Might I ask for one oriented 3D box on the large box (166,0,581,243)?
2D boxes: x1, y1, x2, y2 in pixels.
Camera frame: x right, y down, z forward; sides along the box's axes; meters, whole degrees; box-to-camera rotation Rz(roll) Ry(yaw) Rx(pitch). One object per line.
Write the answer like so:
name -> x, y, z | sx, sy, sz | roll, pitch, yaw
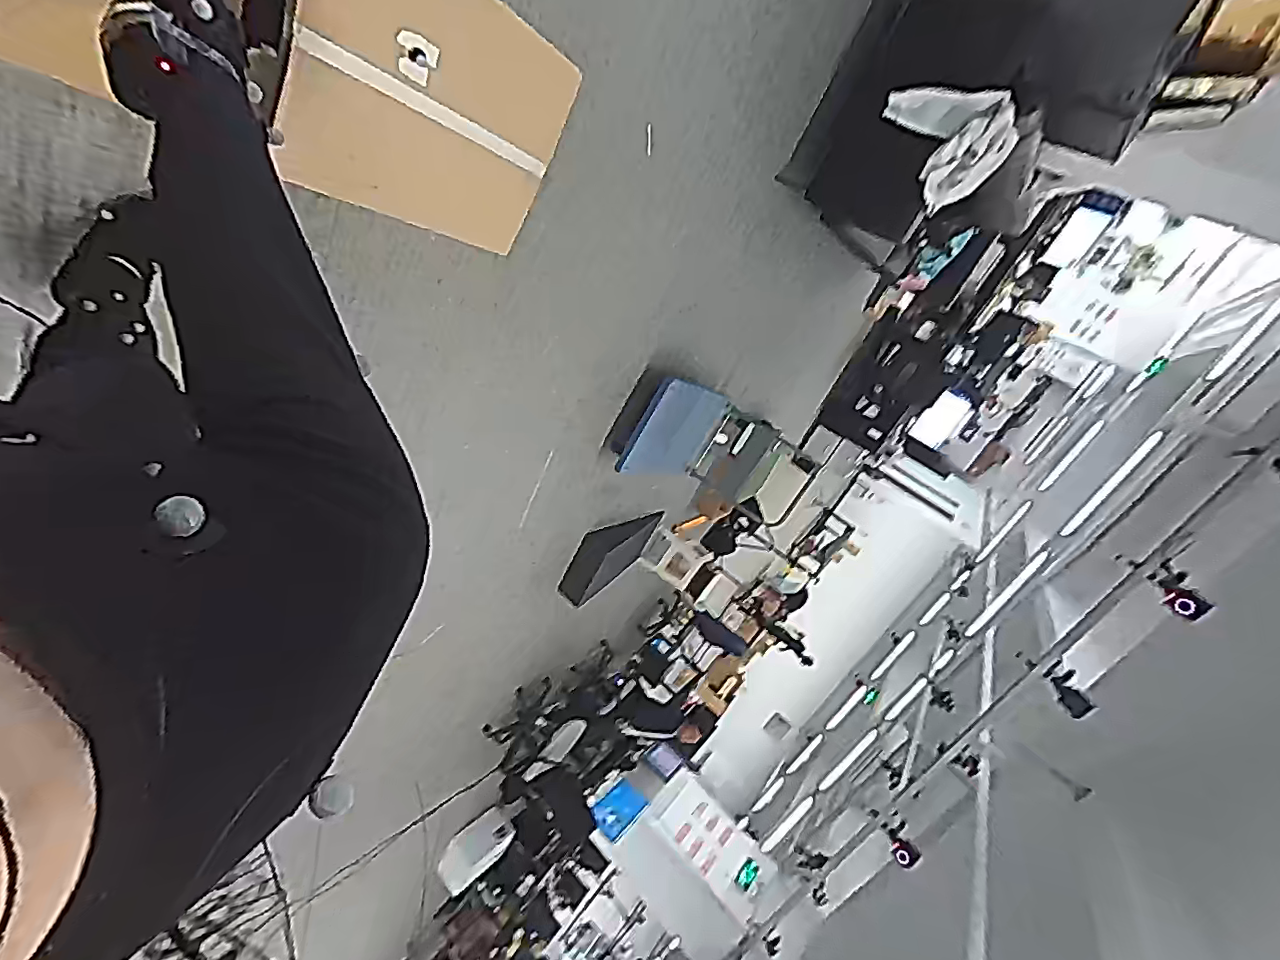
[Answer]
large box -> -0.372, -0.611, 0.791 | 0.408, 0.320, 0.320 | -9, 138, -56
